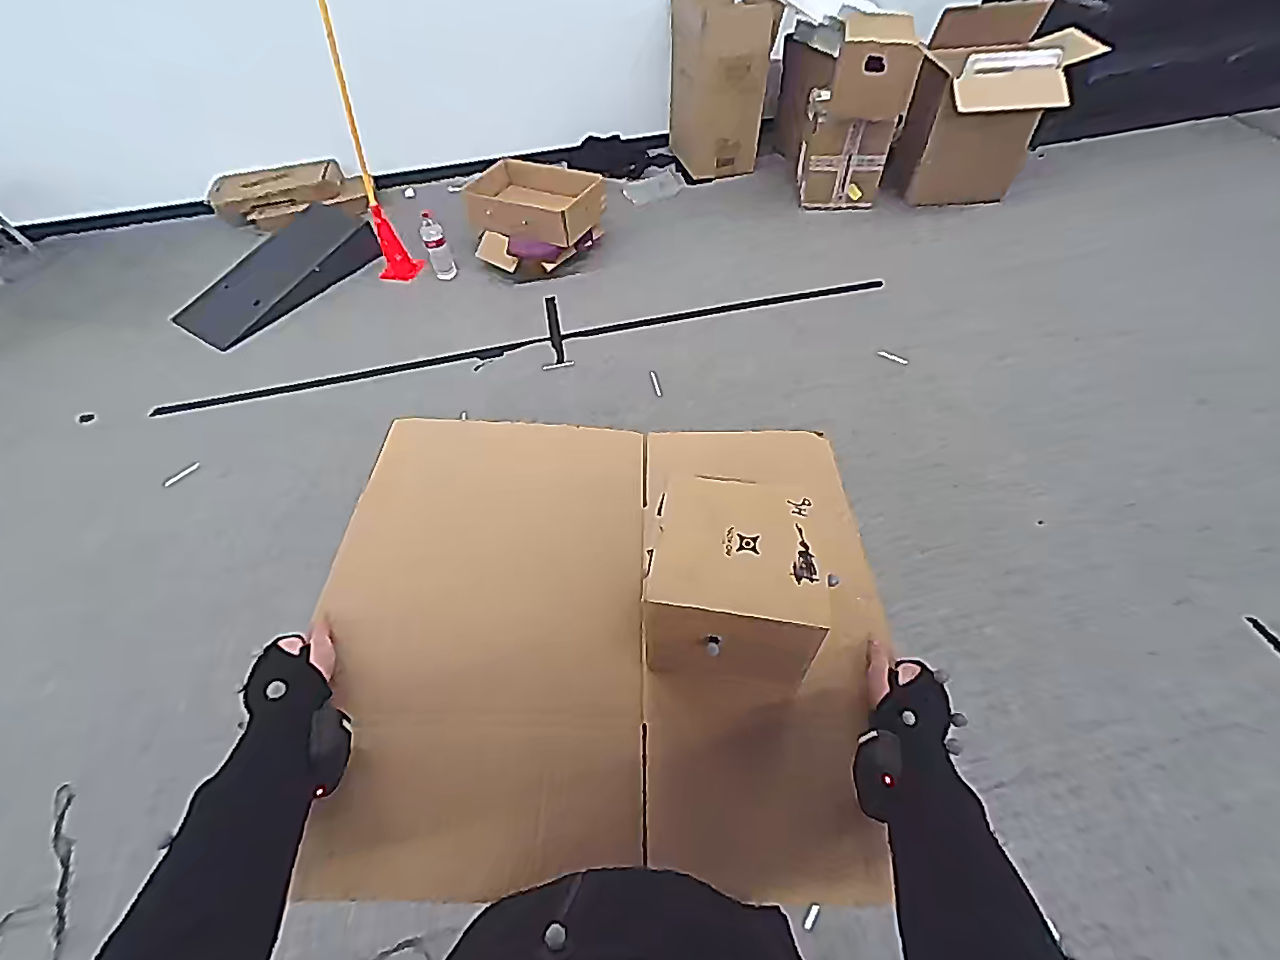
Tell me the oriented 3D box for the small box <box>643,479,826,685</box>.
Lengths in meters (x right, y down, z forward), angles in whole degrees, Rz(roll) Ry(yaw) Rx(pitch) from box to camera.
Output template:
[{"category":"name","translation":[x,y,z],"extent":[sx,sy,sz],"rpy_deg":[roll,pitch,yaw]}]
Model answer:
[{"category":"small box","translation":[0.106,0.120,0.624],"extent":[0.179,0.176,0.168],"rpy_deg":[6,51,9]}]
